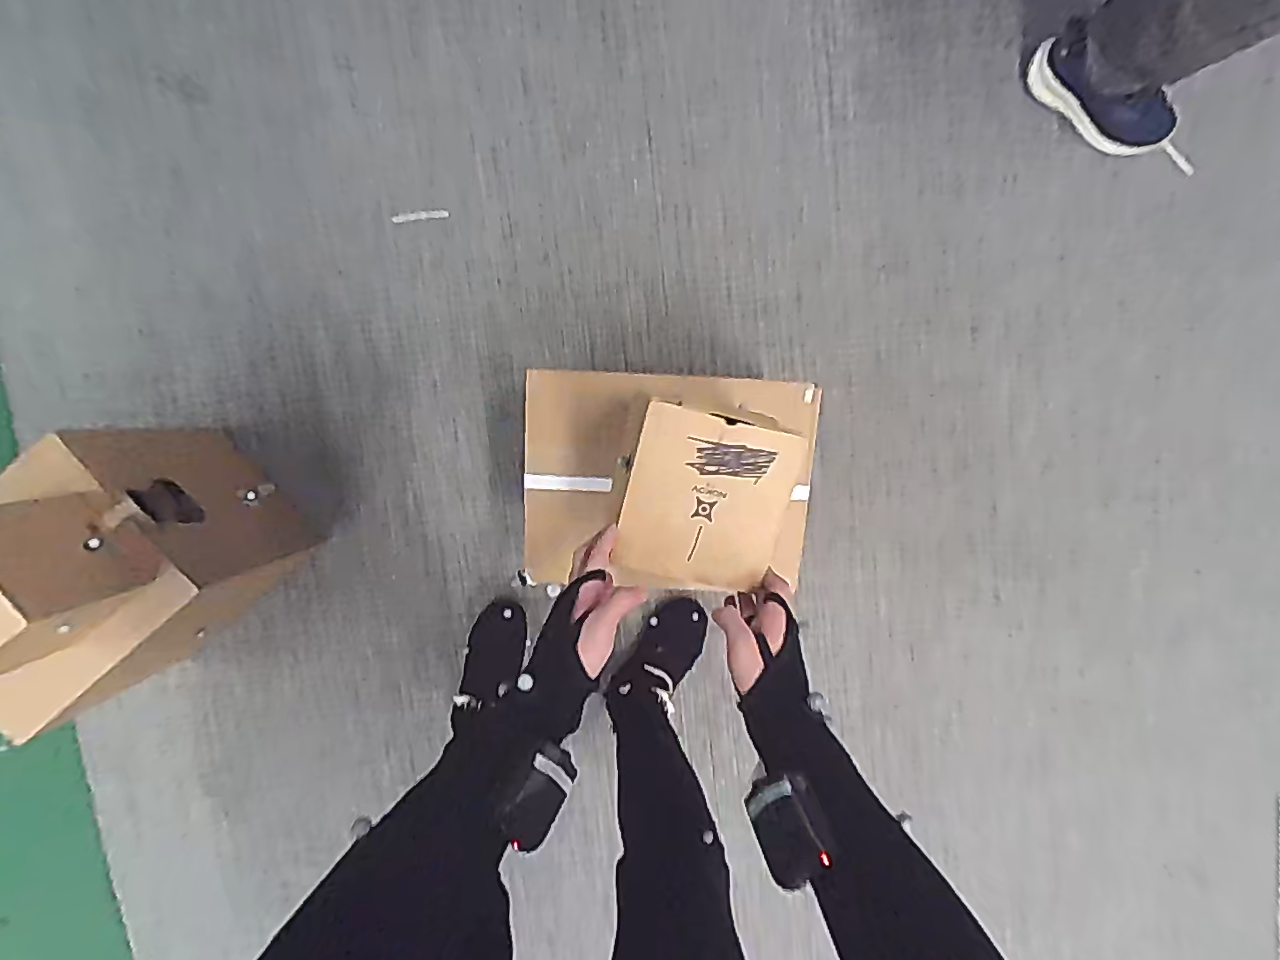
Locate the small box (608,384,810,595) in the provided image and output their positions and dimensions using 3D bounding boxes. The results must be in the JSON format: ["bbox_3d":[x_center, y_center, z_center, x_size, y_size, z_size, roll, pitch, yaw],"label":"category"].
[{"bbox_3d":[0.061,0.000,0.618,0.168,0.176,0.179,14,106,-9],"label":"small box"}]

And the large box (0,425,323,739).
[{"bbox_3d":[-0.884,0.146,0.959,0.408,0.320,0.320,-39,94,6],"label":"large box"}]
